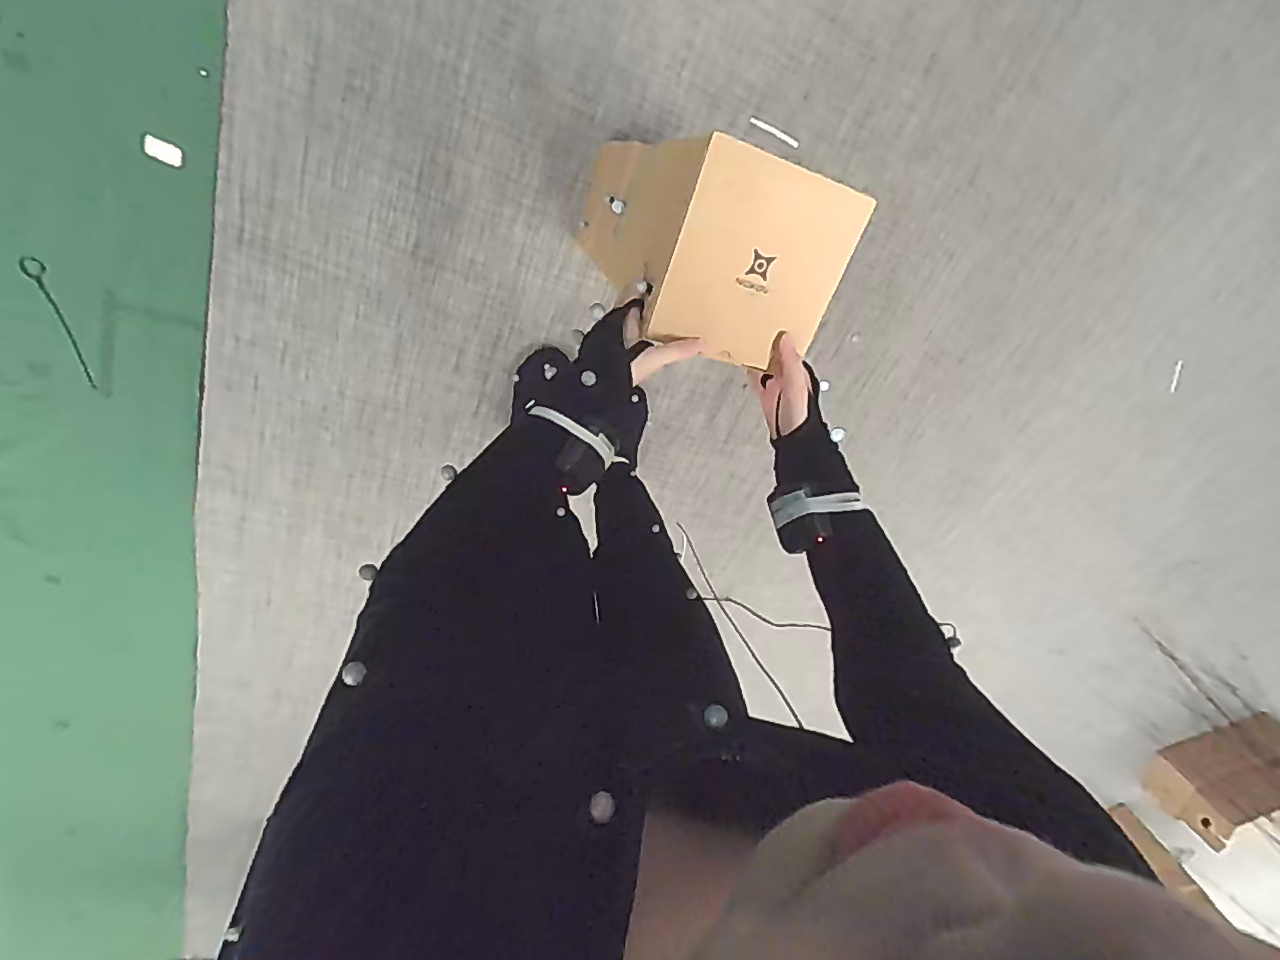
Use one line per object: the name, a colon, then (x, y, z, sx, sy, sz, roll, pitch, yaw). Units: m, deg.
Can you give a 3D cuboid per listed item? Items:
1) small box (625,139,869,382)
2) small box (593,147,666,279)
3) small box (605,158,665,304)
small box: (0.091, -0.229, 0.565, 0.168, 0.176, 0.179, 11, 118, -18)
small box: (0.030, -0.394, 0.842, 0.168, 0.176, 0.179, 11, 118, -17)
small box: (0.066, -0.306, 0.707, 0.179, 0.176, 0.168, 13, 116, -18)
